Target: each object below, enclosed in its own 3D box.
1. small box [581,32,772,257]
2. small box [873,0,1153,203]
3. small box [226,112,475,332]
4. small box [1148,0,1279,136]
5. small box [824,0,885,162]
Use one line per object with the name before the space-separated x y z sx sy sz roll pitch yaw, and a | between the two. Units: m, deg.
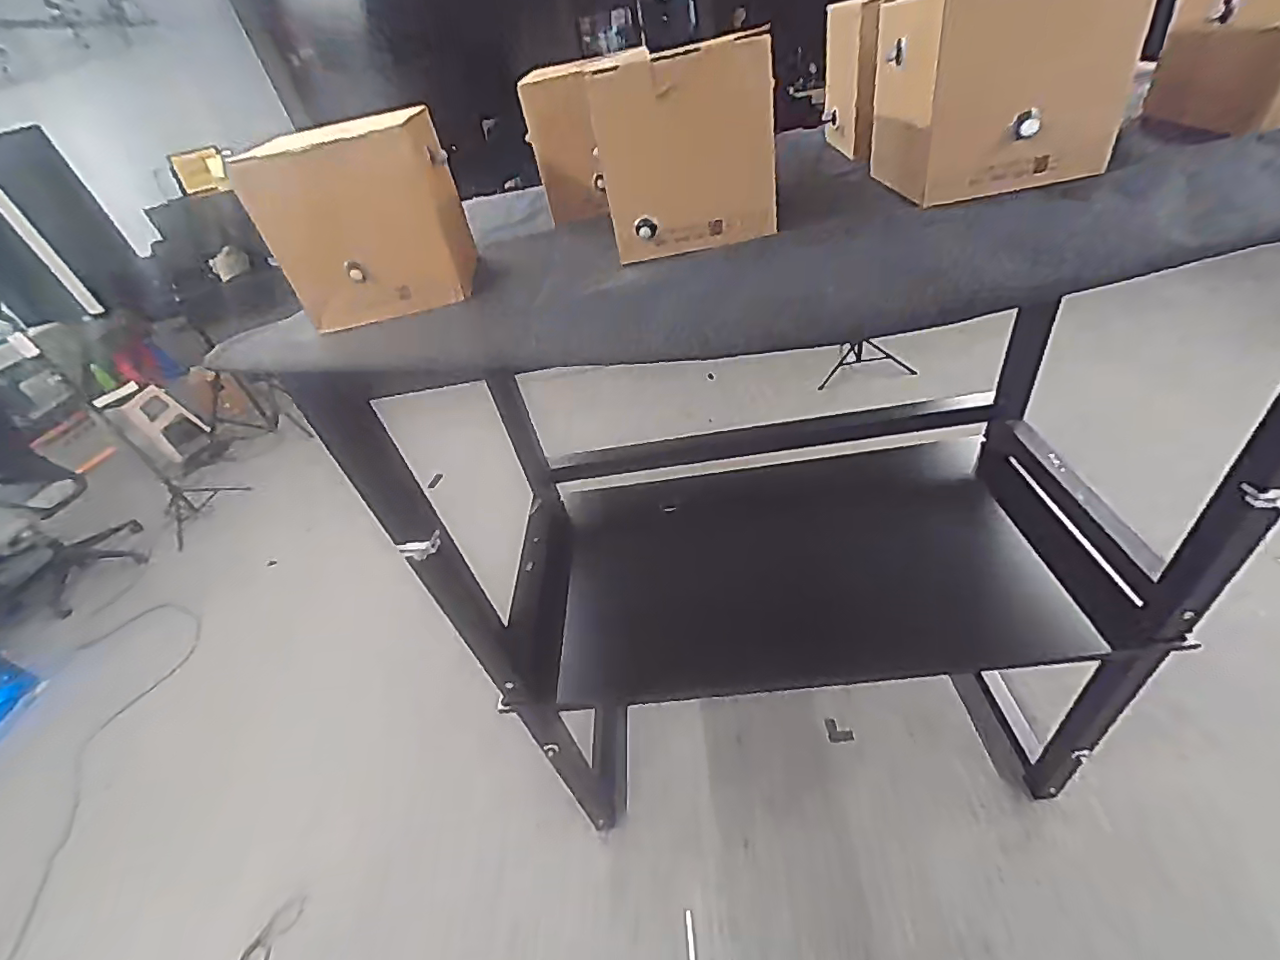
small box | 0.045 -0.352 0.579 0.168 0.176 0.179 -7 38 8
small box | 0.342 -0.391 0.536 0.168 0.176 0.179 -8 38 9
small box | -0.293 -0.286 0.599 0.168 0.176 0.179 -14 40 -1
small box | 0.645 -0.441 0.508 0.168 0.176 0.179 -7 39 10
small box | 0.356 -0.552 0.729 0.179 0.176 0.168 -7 39 8
